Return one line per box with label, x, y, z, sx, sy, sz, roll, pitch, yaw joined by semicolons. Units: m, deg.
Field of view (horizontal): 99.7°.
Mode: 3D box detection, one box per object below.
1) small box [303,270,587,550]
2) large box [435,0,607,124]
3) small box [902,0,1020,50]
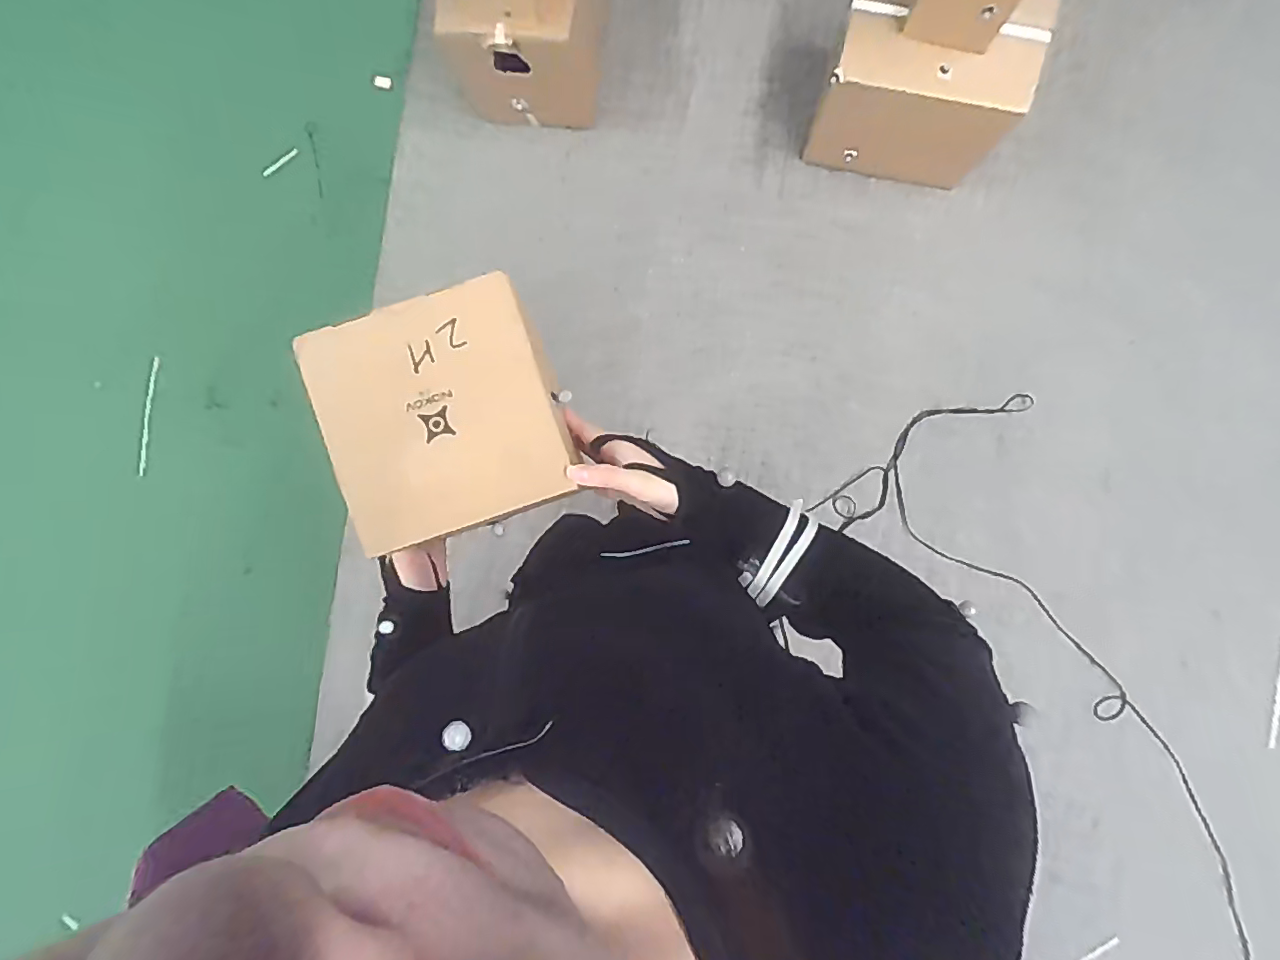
small box;-0.150;-0.053;0.483;0.168;0.176;0.179;-17;90;-2
large box;-0.271;-1.179;1.339;0.320;0.320;0.408;8;91;5
small box;0.637;-0.971;1.027;0.179;0.176;0.168;18;90;4
